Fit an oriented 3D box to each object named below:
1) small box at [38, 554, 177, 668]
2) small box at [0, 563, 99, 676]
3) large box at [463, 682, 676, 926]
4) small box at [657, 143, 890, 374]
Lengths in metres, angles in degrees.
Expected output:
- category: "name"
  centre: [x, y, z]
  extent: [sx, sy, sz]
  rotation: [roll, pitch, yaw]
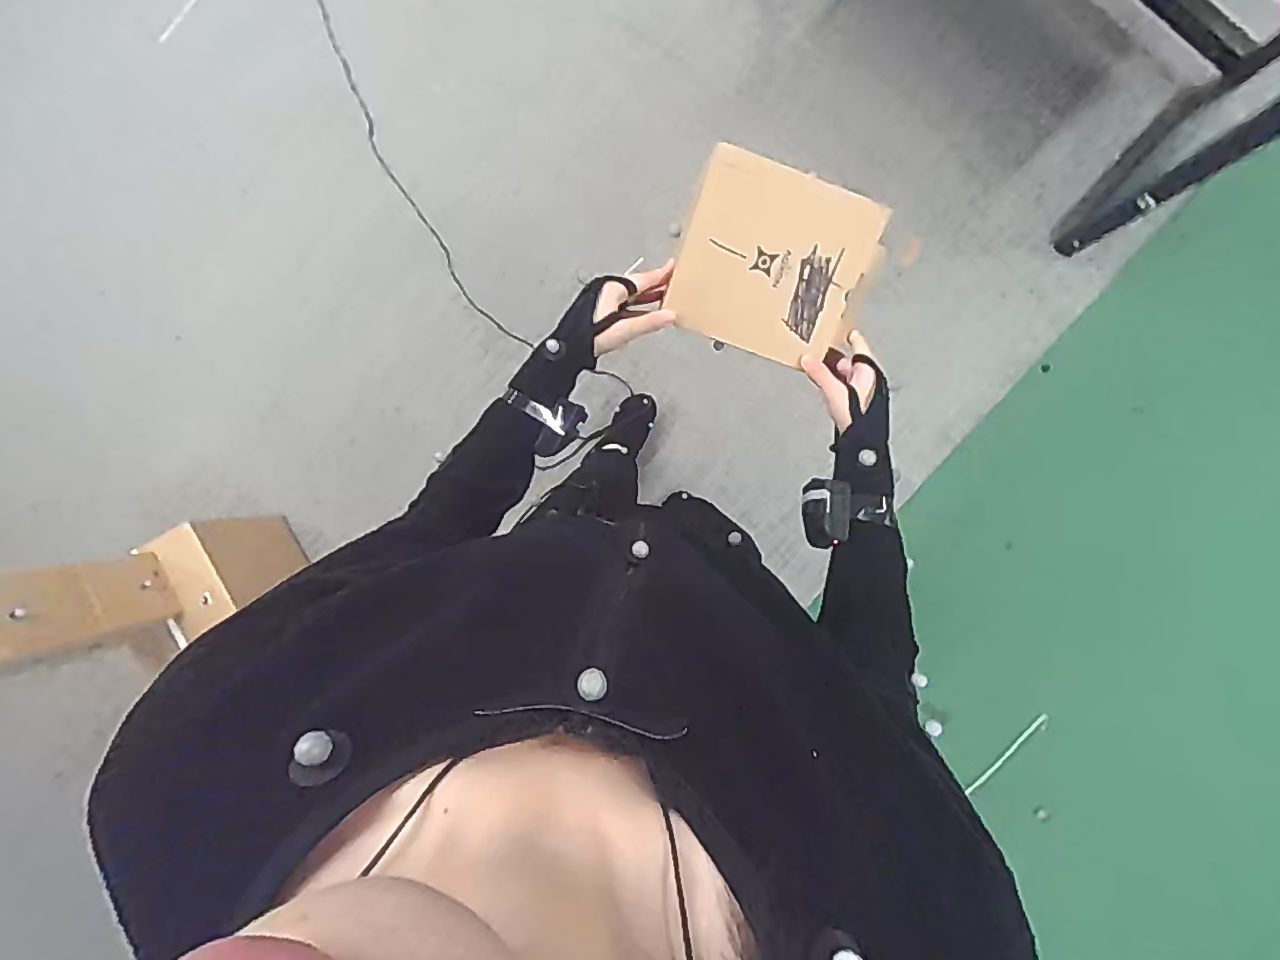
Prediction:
- category: "small box"
  centre: [-1.194, 0.280, 1.193]
  extent: [0.179, 0.176, 0.168]
  rotation: [-29, 88, 4]
- category: "small box"
  centre: [-1.211, 0.271, 1.032]
  extent: [0.168, 0.176, 0.179]
  rotation: [-27, 90, 4]
- category: "large box"
  centre: [-0.158, 0.786, 1.373]
  extent: [0.408, 0.320, 0.320]
  rotation: [28, 92, 2]
- category: "small box"
  centre: [0.126, -0.235, 0.592]
  extent: [0.179, 0.176, 0.168]
  rotation: [18, 110, -6]
